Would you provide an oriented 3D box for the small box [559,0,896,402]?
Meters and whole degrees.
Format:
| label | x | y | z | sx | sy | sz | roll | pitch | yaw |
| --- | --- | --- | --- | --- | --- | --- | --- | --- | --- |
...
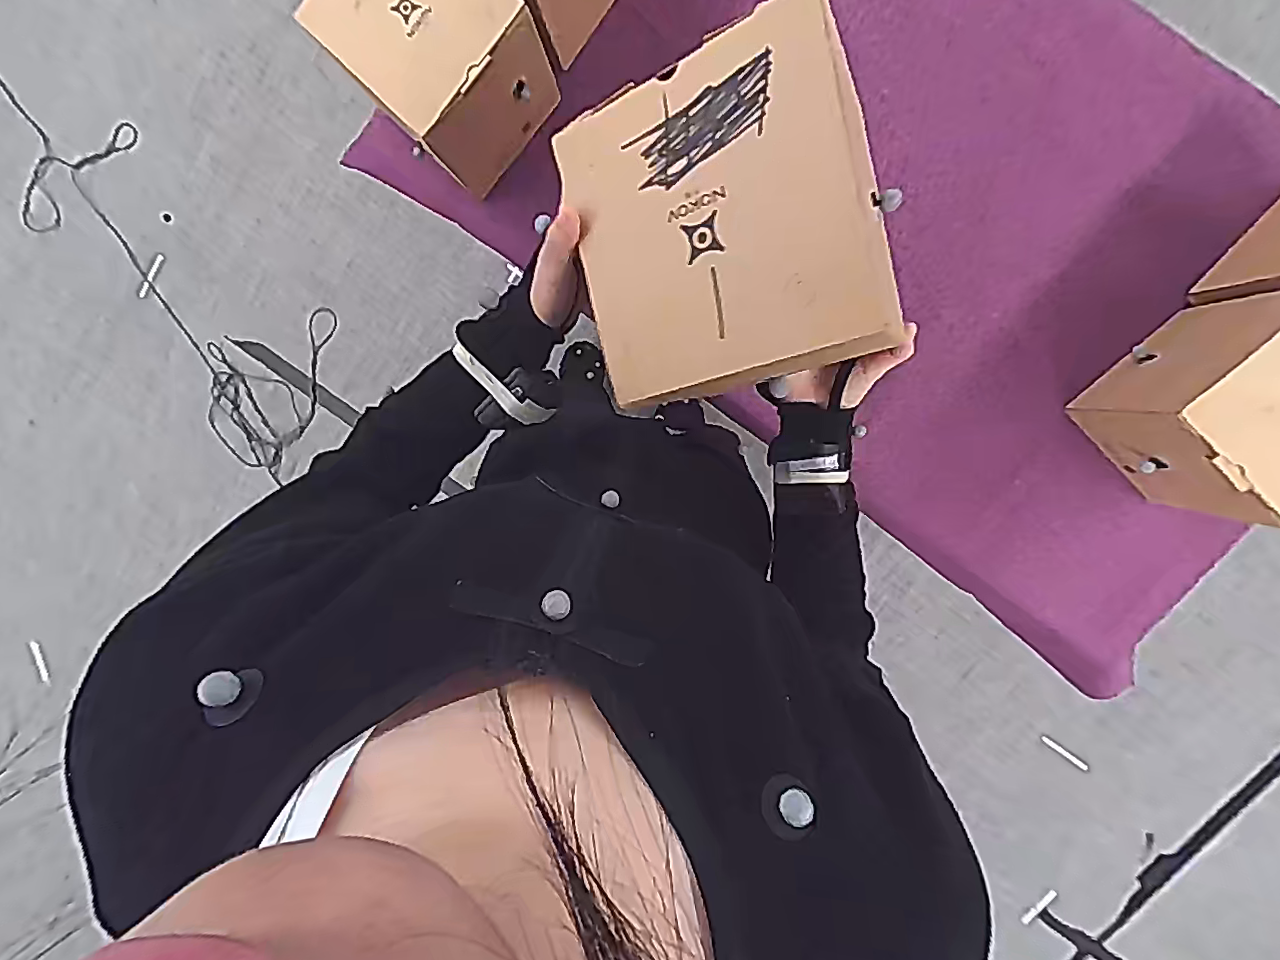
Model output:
| label | x | y | z | sx | sy | sz | roll | pitch | yaw |
| --- | --- | --- | --- | --- | --- | --- | --- | --- | --- |
| small box | 0.073 | -0.159 | 0.378 | 0.168 | 0.176 | 0.179 | -10 | 96 | 30 |

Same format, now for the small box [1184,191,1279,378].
| label | x | y | z | sx | sy | sz | roll | pitch | yaw |
| --- | --- | --- | --- | --- | --- | --- | --- | --- | --- |
| small box | 0.757 | -0.224 | 0.566 | 0.168 | 0.176 | 0.179 | 39 | 99 | -2 |
